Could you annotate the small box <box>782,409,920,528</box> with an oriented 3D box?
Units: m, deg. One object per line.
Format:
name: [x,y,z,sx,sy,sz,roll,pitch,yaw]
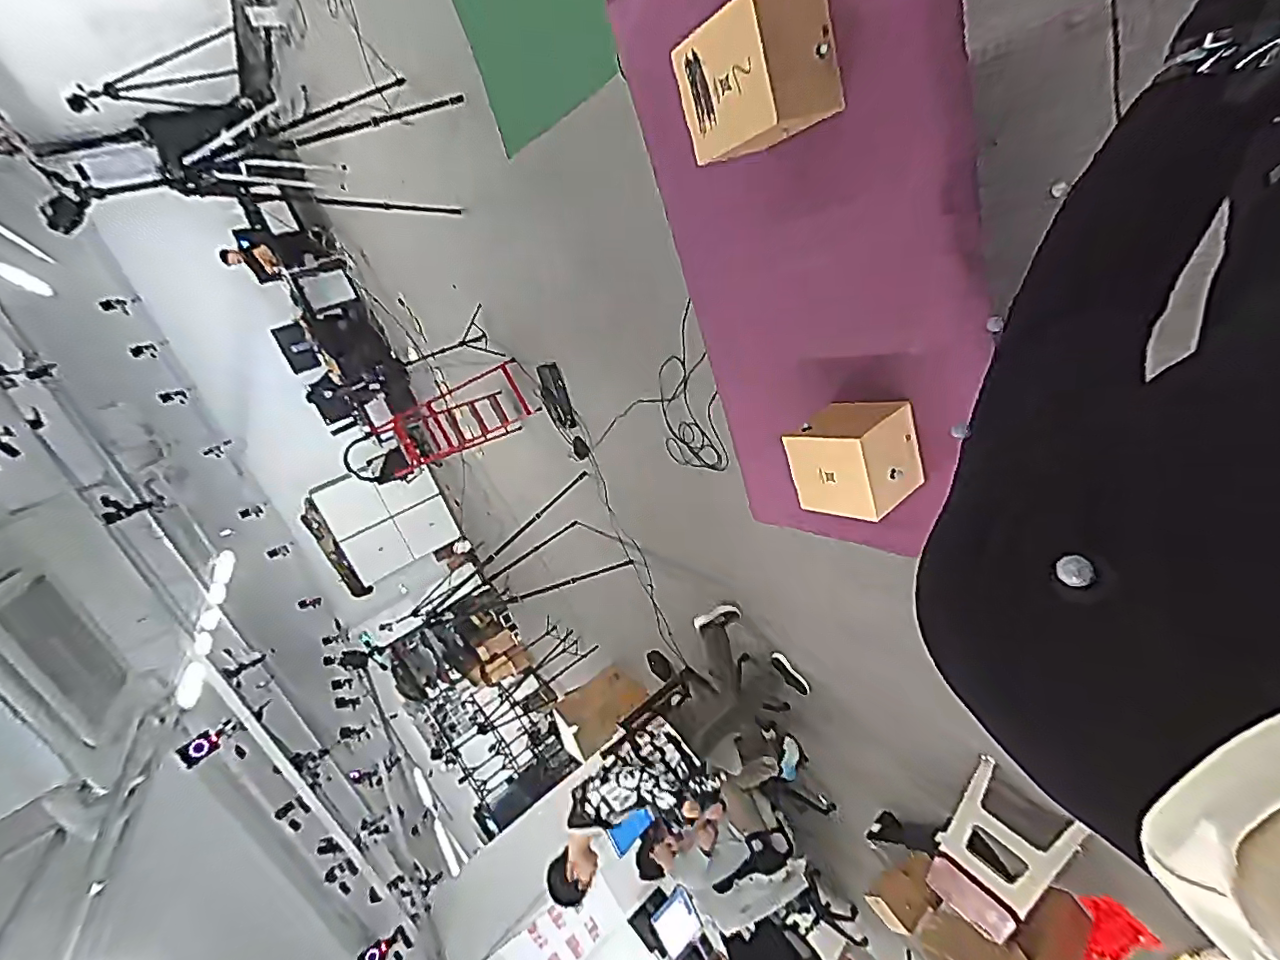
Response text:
small box: [0.409,-0.030,1.033,0.179,0.176,0.168,9,124,56]
